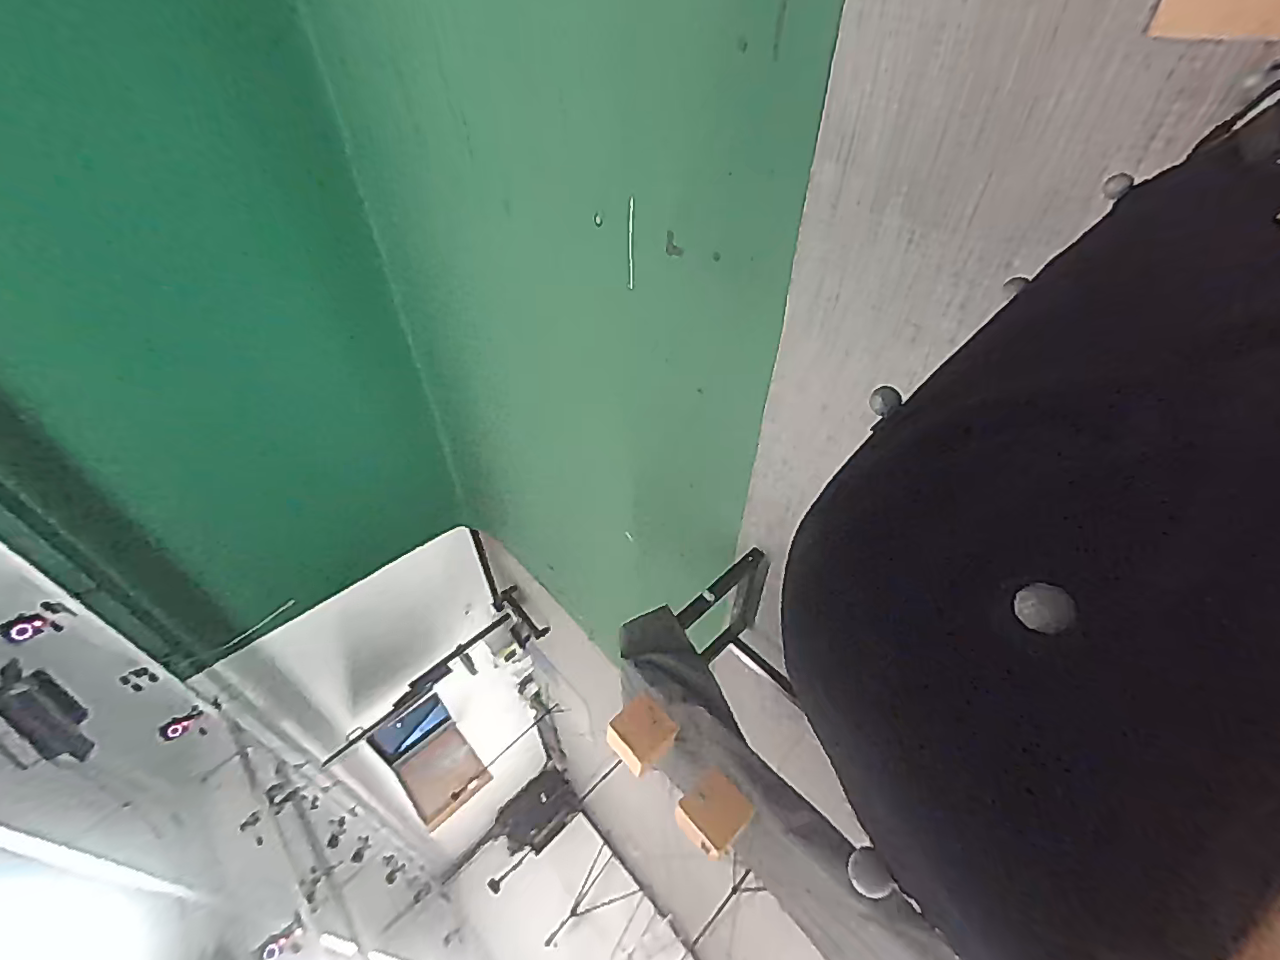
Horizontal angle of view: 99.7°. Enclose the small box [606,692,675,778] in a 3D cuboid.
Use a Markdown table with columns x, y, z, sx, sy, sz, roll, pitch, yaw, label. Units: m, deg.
| x | y | z | sx | sy | sz | roll | pitch | yaw | label |
| --- | --- | --- | --- | --- | --- | --- | --- | --- | --- |
| 0.001 | 0.856 | 1.819 | 0.168 | 0.176 | 0.179 | 39 | 145 | 28 | small box |
